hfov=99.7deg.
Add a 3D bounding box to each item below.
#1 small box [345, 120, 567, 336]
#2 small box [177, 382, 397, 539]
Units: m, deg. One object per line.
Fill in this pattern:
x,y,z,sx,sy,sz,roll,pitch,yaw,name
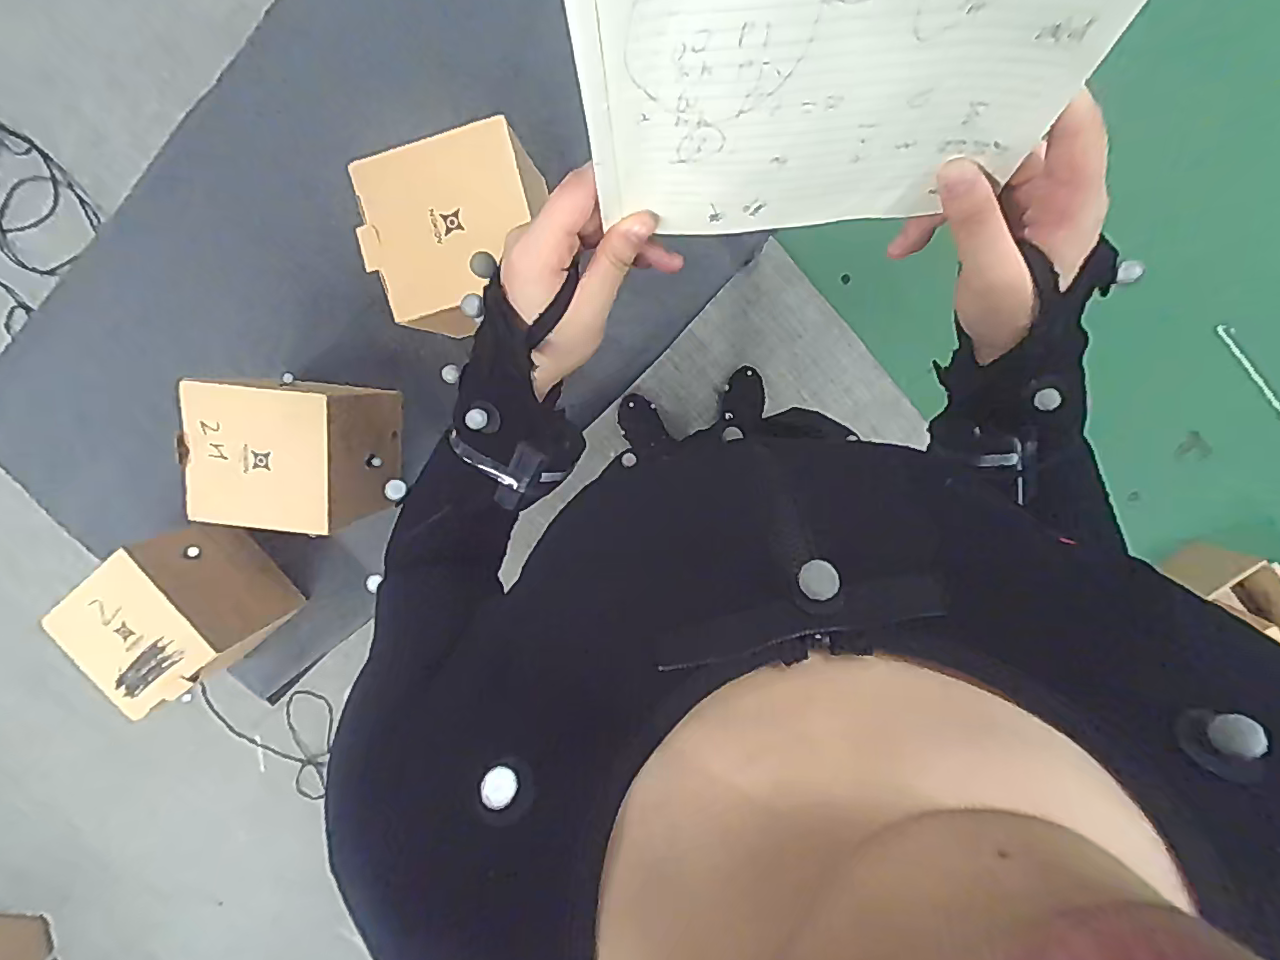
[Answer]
-0.193,-0.274,0.631,0.179,0.176,0.168,-13,99,7,small box
-0.432,-0.035,0.691,0.179,0.176,0.168,6,101,3,small box
